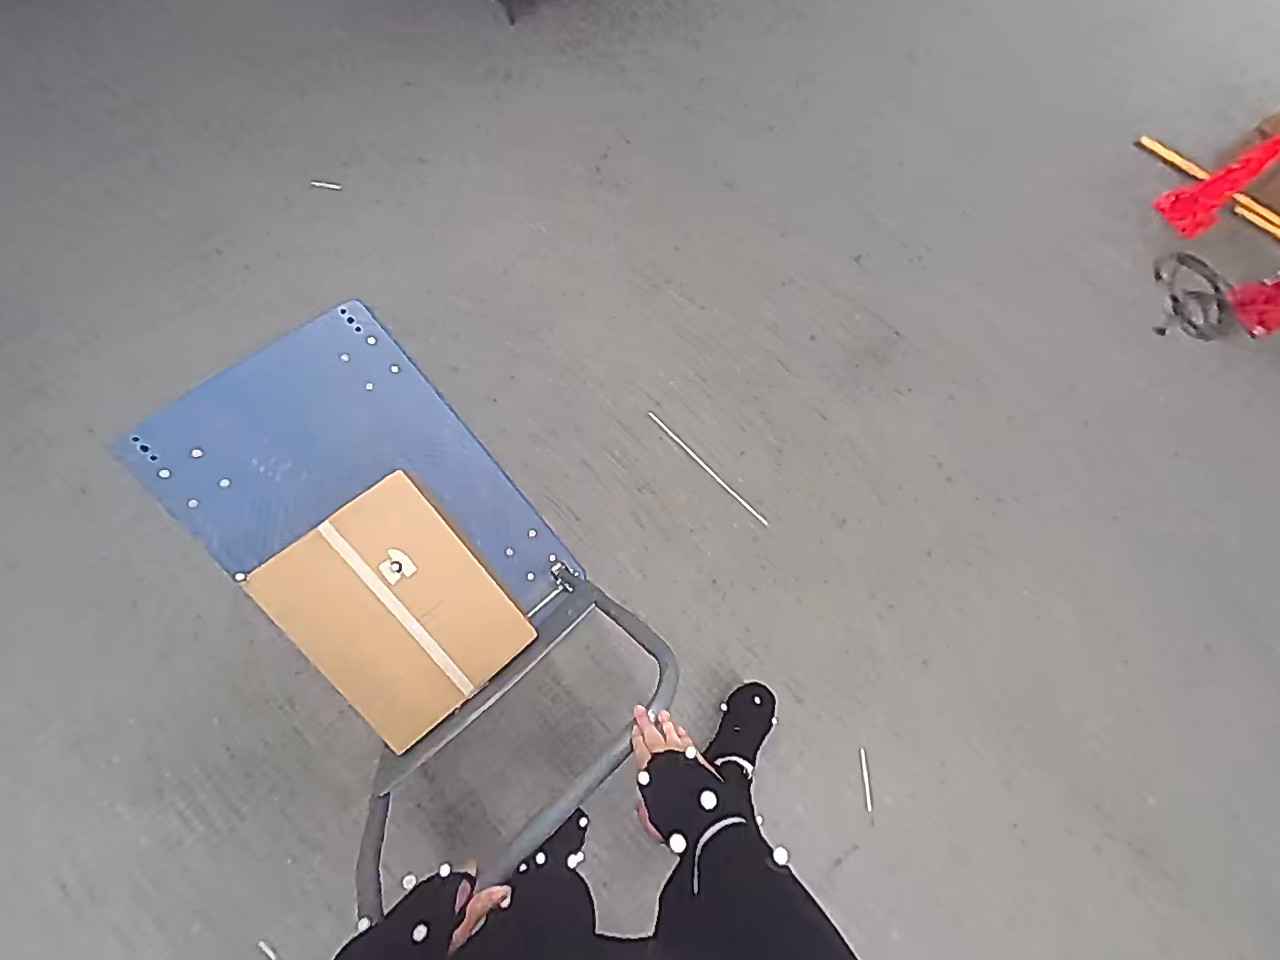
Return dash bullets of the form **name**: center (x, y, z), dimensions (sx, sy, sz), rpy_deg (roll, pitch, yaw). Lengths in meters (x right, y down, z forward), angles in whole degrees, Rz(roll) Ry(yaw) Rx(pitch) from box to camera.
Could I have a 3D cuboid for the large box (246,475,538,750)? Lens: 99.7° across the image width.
- **large box**: center (-0.467, 0.244, 1.107), dimensions (0.320, 0.320, 0.408), rpy_deg (-40, 99, -16)
